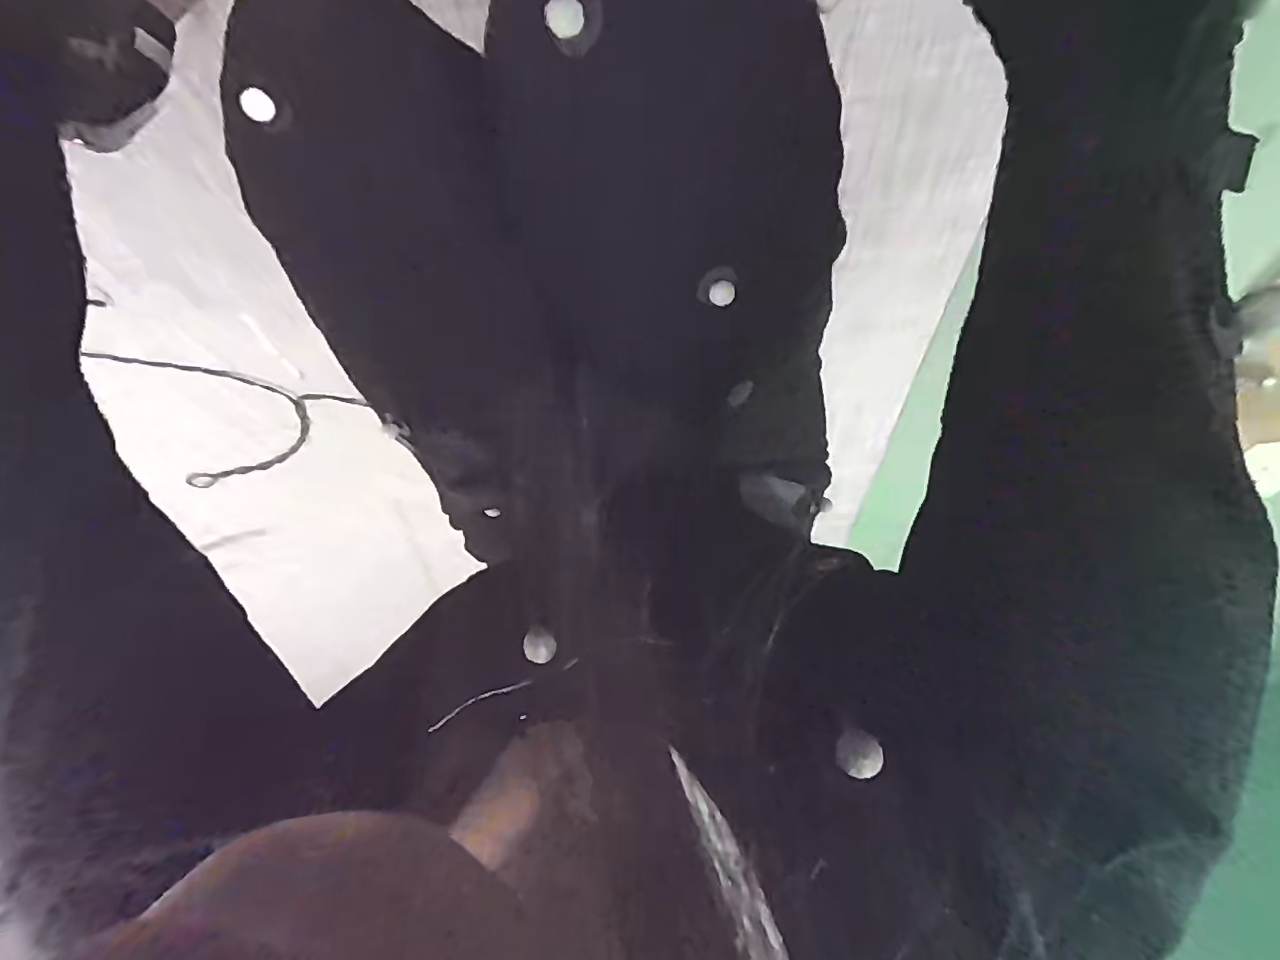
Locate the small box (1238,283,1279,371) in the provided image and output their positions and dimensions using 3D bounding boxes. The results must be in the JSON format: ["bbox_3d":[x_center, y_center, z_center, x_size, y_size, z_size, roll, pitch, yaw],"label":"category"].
[{"bbox_3d":[1.007,-0.226,0.735,0.179,0.176,0.168,-6,147,5],"label":"small box"}]
